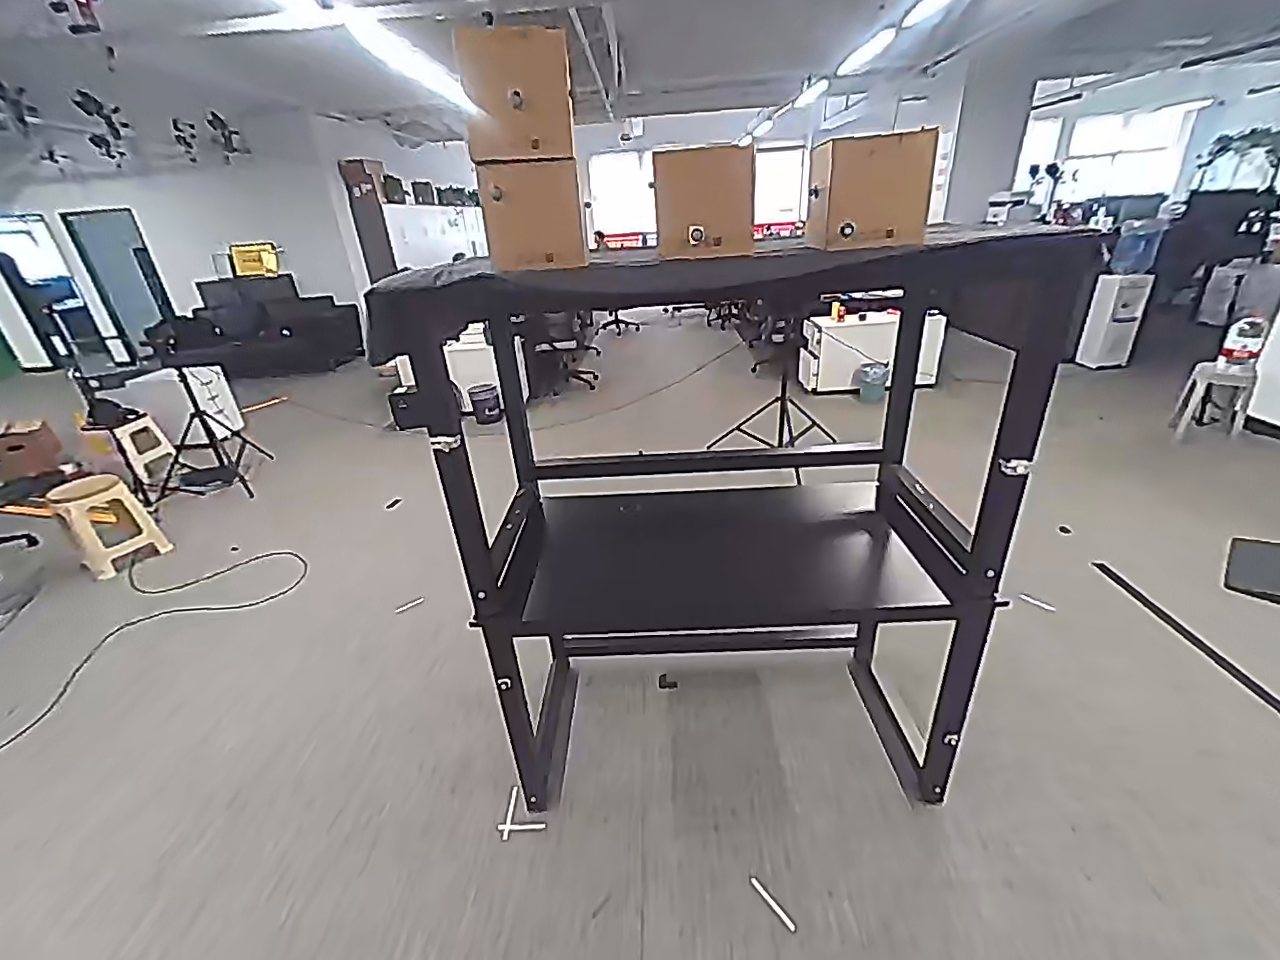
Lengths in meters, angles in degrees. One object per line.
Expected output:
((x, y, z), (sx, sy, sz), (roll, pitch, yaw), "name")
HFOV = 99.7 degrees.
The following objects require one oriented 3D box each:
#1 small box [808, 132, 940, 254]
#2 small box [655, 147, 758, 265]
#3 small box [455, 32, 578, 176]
((0.399, -0.496, 0.954), (0.168, 0.176, 0.179), (-2, 25, 5), "small box")
((0.116, -0.478, 0.962), (0.168, 0.176, 0.179), (-3, 25, 6), "small box")
((-0.192, -0.611, 0.898), (0.168, 0.176, 0.179), (-4, 25, -4), "small box")
